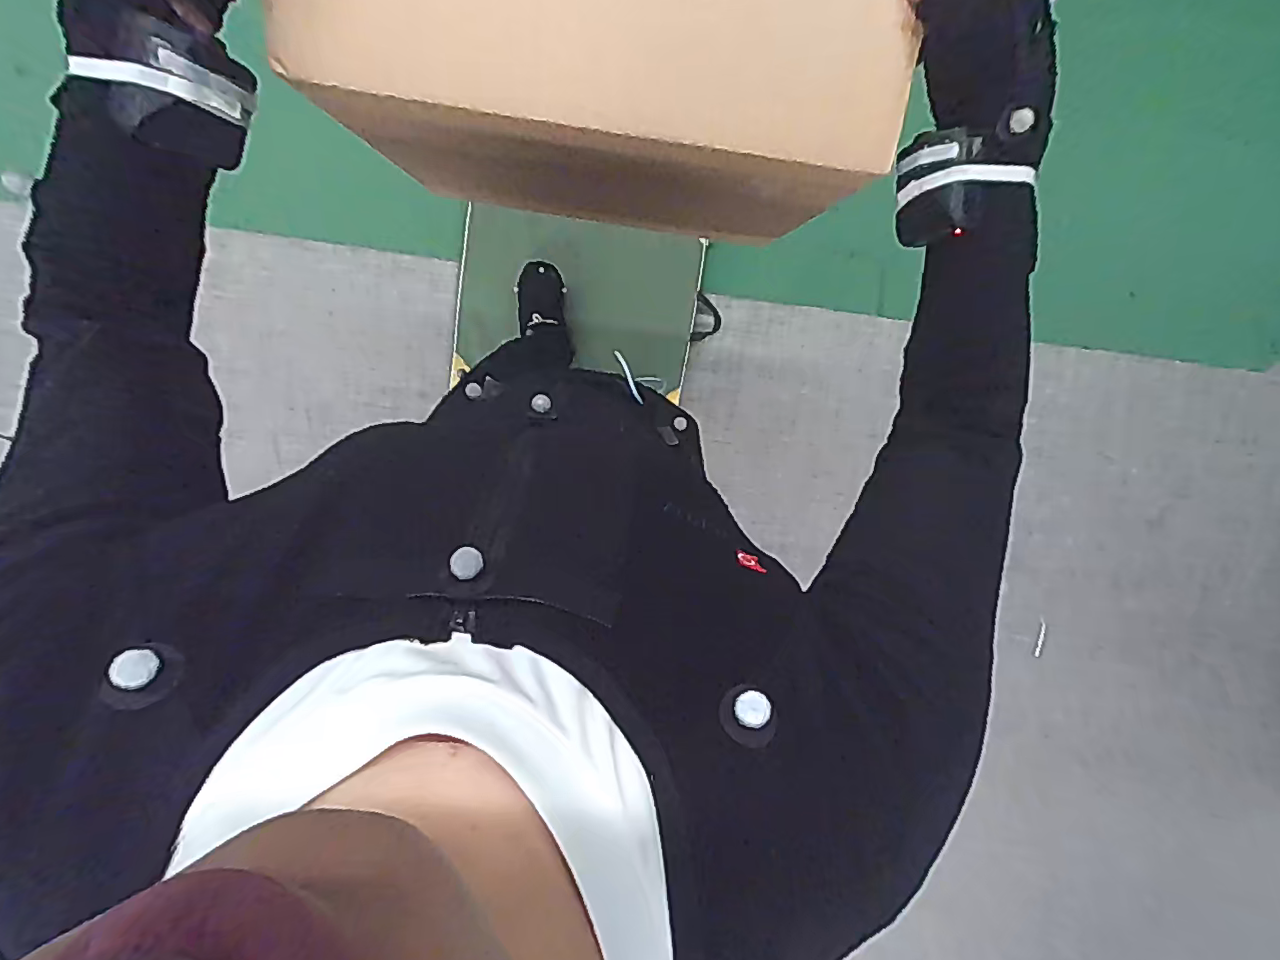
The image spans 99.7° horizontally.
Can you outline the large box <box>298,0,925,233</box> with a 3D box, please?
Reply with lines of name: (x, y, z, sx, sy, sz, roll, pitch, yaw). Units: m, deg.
large box: (-0.013, -0.428, 0.465, 0.408, 0.320, 0.320, 6, 105, -6)
